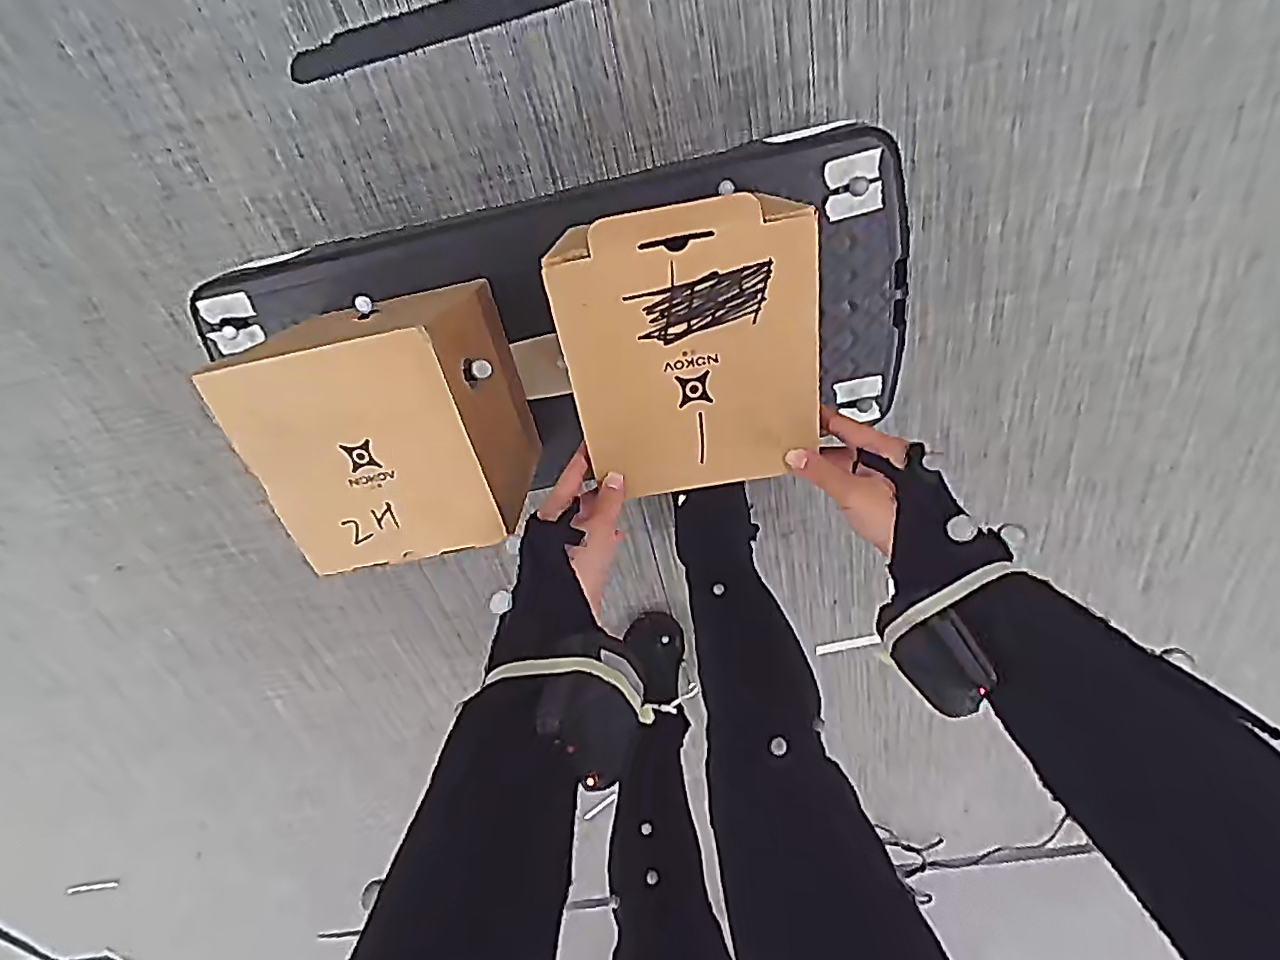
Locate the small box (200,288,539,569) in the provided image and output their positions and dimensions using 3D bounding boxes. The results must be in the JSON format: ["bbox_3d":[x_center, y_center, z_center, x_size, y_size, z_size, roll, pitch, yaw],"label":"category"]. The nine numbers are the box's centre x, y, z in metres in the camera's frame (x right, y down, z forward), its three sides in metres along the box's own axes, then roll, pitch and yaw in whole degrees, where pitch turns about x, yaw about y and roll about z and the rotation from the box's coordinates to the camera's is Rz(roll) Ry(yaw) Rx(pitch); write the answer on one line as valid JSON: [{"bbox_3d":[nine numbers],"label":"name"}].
[{"bbox_3d":[-0.196,-0.054,0.457,0.168,0.176,0.179,-9,120,6],"label":"small box"}]

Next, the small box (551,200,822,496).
[{"bbox_3d":[0.036,-0.113,0.428,0.168,0.176,0.179,-8,121,4],"label":"small box"}]

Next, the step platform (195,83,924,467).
[{"bbox_3d":[-0.070,-0.182,0.587,0.684,0.204,0.286,-11,119,6],"label":"step platform"}]
